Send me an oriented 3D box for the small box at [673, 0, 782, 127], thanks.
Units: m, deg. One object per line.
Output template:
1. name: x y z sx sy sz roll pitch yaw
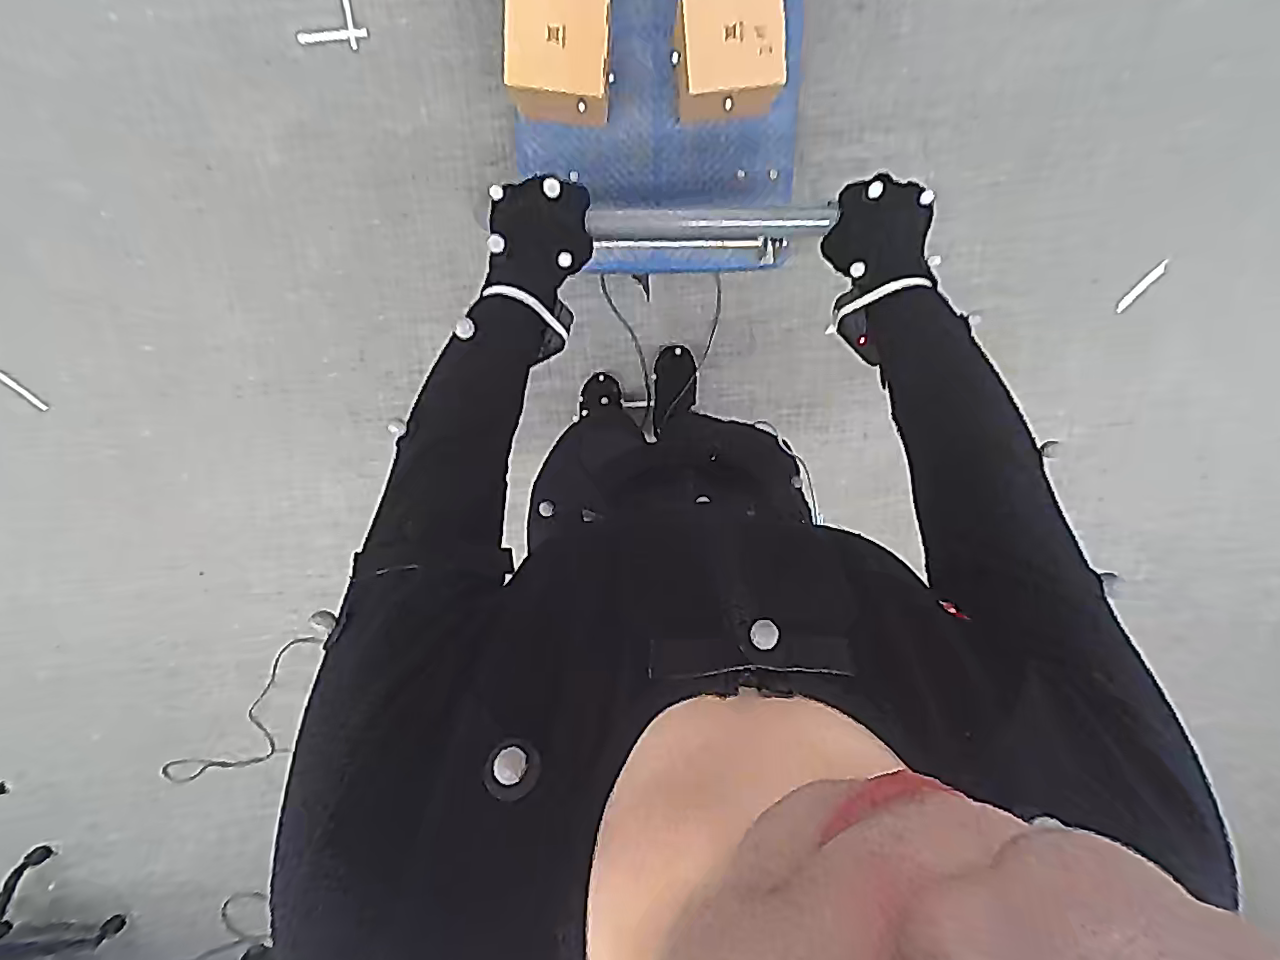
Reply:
1. small box: 0.157 -0.788 1.015 0.179 0.176 0.168 -6 107 0

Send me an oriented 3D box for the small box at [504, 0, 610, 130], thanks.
1. small box: -0.149 -0.778 1.008 0.179 0.176 0.168 4 106 -5
